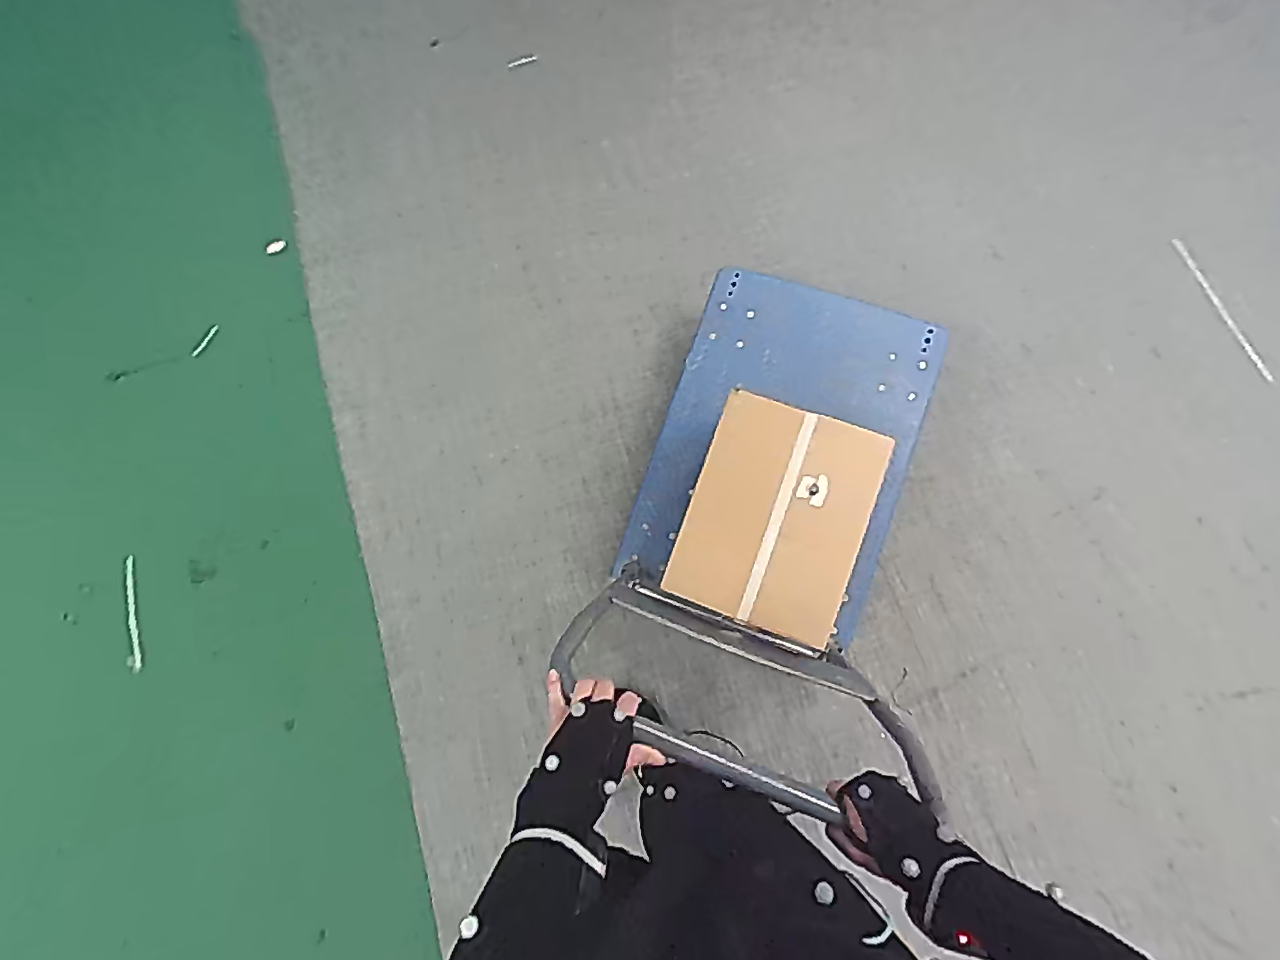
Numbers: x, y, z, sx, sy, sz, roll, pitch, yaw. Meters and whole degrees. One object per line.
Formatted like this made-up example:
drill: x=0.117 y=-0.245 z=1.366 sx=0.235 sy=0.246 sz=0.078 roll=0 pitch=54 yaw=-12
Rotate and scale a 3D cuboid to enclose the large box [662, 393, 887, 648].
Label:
large box: x=0.263 y=0.086 z=1.137 sx=0.320 sy=0.320 sz=0.408 roll=19 pitch=86 yaw=8
